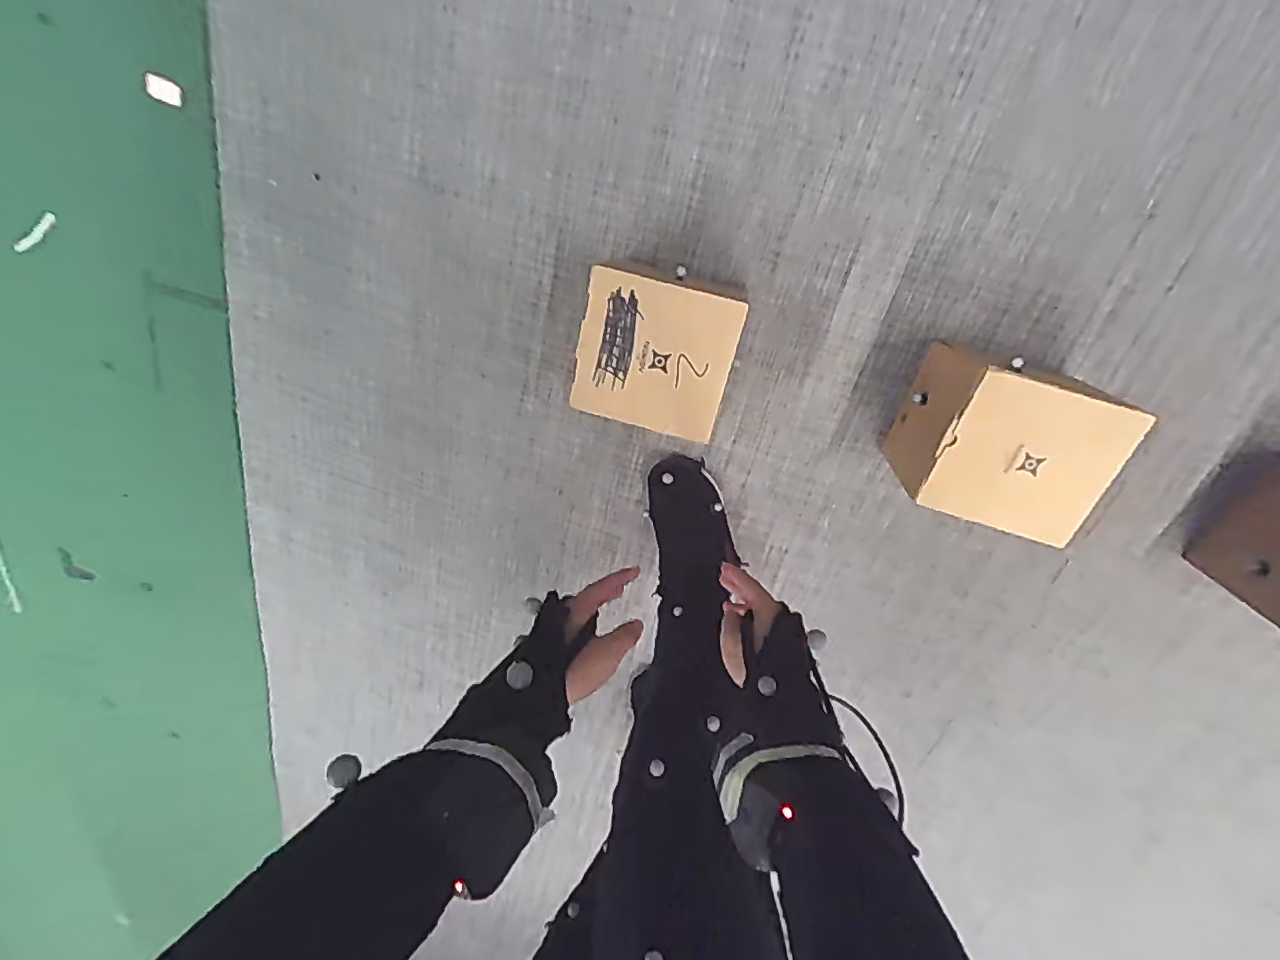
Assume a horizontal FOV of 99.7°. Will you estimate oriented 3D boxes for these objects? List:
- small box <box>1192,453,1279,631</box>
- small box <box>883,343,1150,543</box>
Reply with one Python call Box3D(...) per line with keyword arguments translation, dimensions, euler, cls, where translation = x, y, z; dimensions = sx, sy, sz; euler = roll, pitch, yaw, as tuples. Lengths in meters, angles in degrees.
Box3D(translation=(0.831, 0.094, 0.639), dimensions=(0.168, 0.176, 0.179), euler=(20, 115, 0), cls="small box")
Box3D(translation=(0.427, -0.055, 0.653), dimensions=(0.179, 0.176, 0.168), euler=(18, 116, 4), cls="small box")
